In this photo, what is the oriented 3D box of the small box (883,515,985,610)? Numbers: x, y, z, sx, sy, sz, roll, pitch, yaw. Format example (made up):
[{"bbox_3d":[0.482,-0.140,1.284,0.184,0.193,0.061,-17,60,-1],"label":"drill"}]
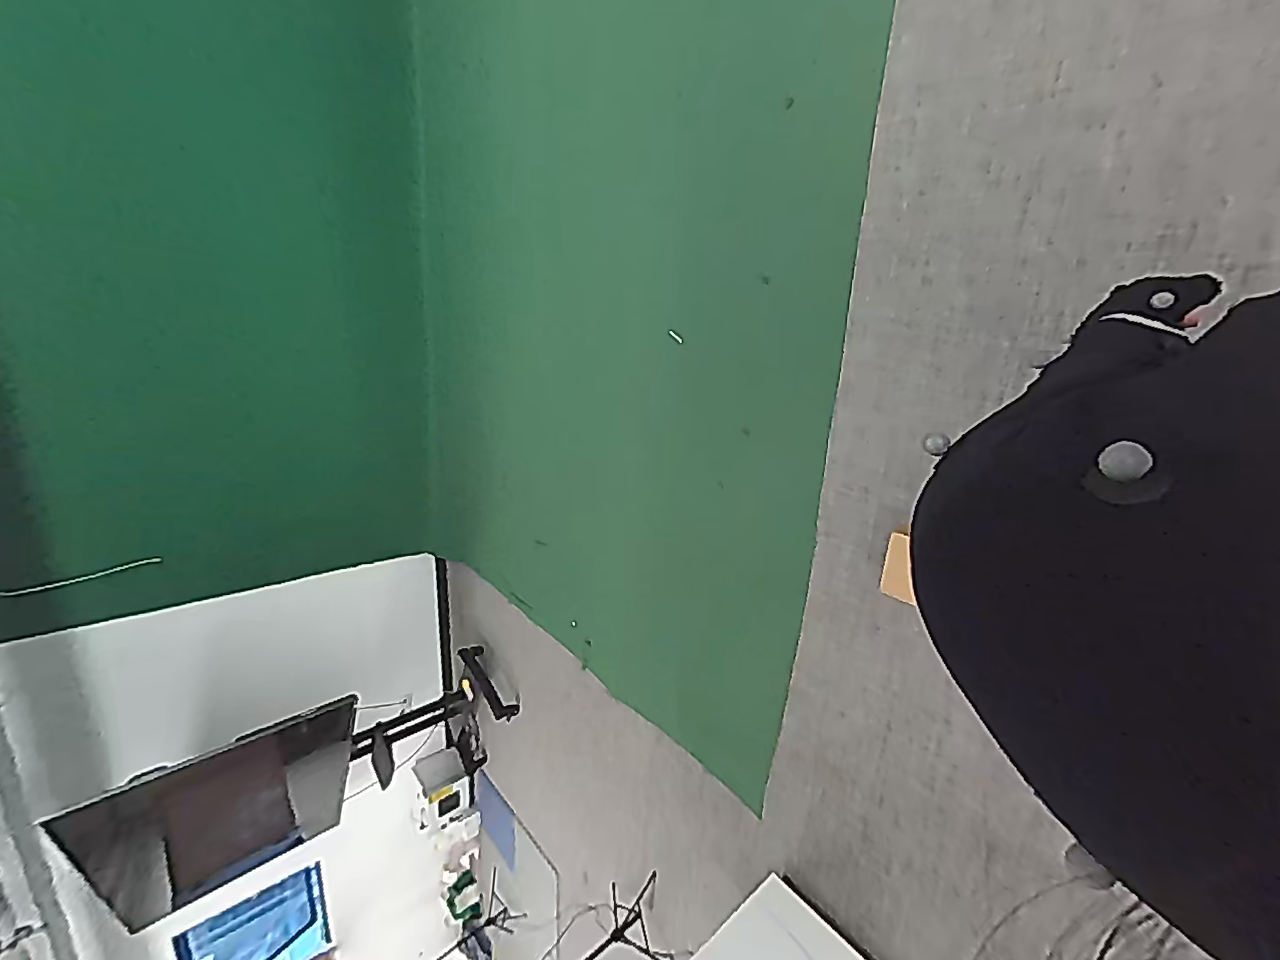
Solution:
[{"bbox_3d":[0.762,0.205,1.397,0.168,0.176,0.179,21,113,45],"label":"small box"}]
